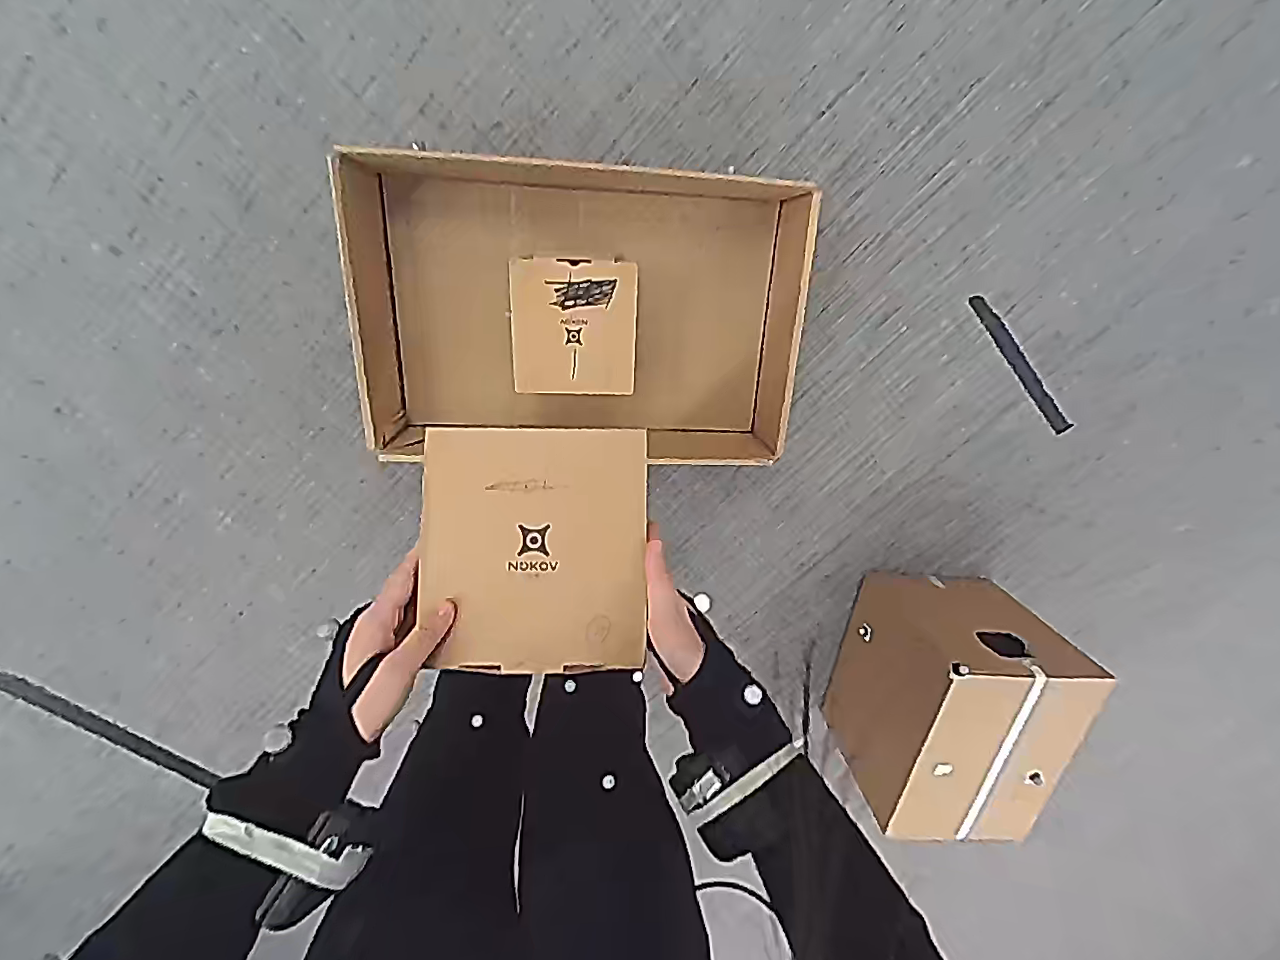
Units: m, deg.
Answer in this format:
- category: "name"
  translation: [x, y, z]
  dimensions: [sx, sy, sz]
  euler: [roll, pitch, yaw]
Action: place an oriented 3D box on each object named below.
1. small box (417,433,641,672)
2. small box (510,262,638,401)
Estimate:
- category: "small box"
  translation: [-0.082, 0.059, 0.478]
  dimensions: [0.168, 0.176, 0.179]
  euler: [0, 84, -2]
- category: "small box"
  translation: [-0.097, -0.222, 0.792]
  dimensions: [0.168, 0.176, 0.179]
  euler: [0, 112, -6]
